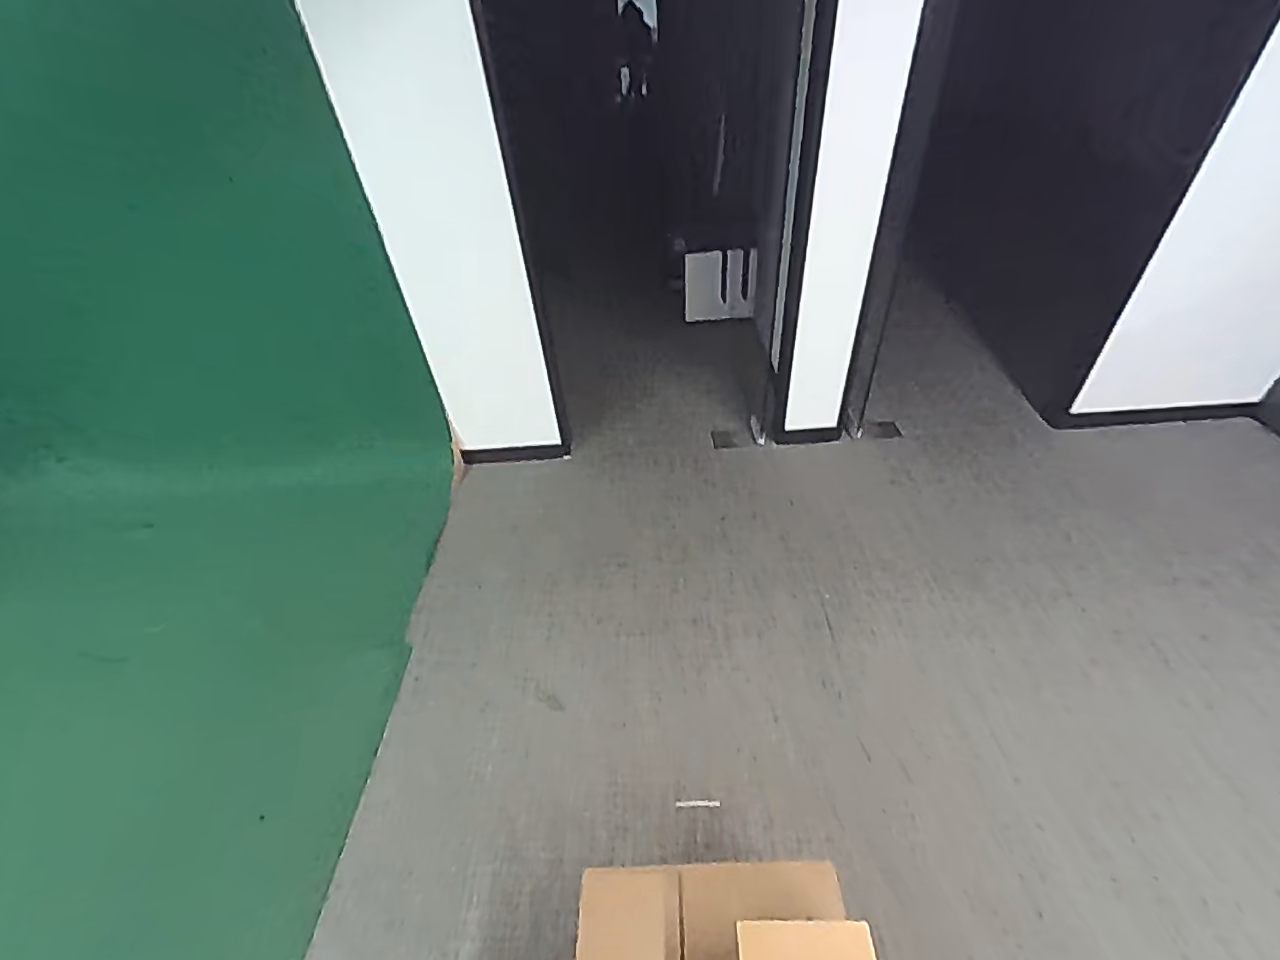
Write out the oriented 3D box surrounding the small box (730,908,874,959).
[{"bbox_3d":[0.205,0.666,0.678,0.168,0.176,0.179,-3,42,4],"label":"small box"}]
